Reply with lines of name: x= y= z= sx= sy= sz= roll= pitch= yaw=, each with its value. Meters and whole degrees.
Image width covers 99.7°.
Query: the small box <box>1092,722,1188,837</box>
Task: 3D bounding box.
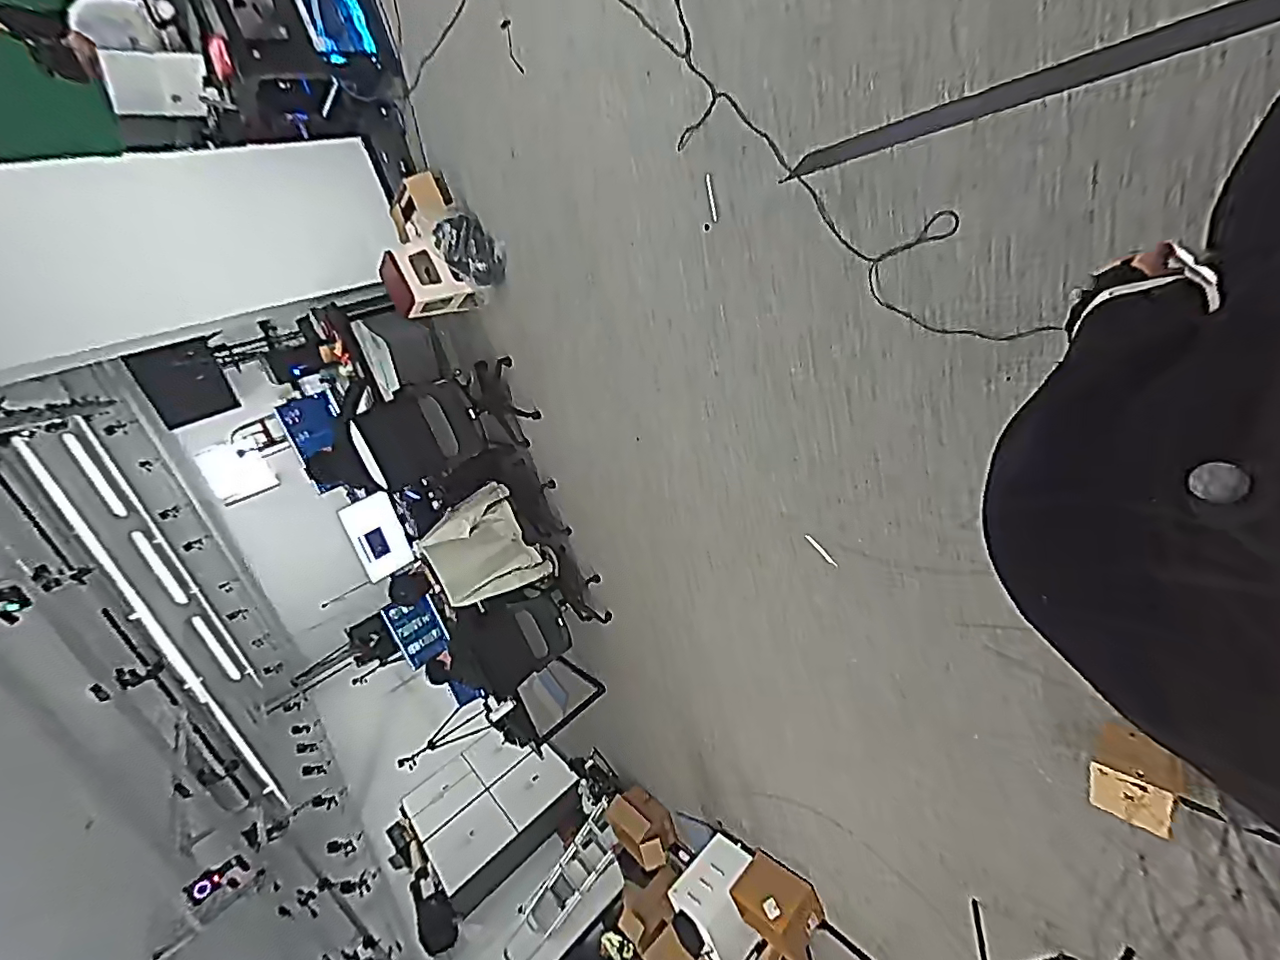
small box: x=1.366 y=0.810 z=1.478 sx=0.168 sy=0.176 sz=0.179 roll=10 pitch=125 yaw=50
